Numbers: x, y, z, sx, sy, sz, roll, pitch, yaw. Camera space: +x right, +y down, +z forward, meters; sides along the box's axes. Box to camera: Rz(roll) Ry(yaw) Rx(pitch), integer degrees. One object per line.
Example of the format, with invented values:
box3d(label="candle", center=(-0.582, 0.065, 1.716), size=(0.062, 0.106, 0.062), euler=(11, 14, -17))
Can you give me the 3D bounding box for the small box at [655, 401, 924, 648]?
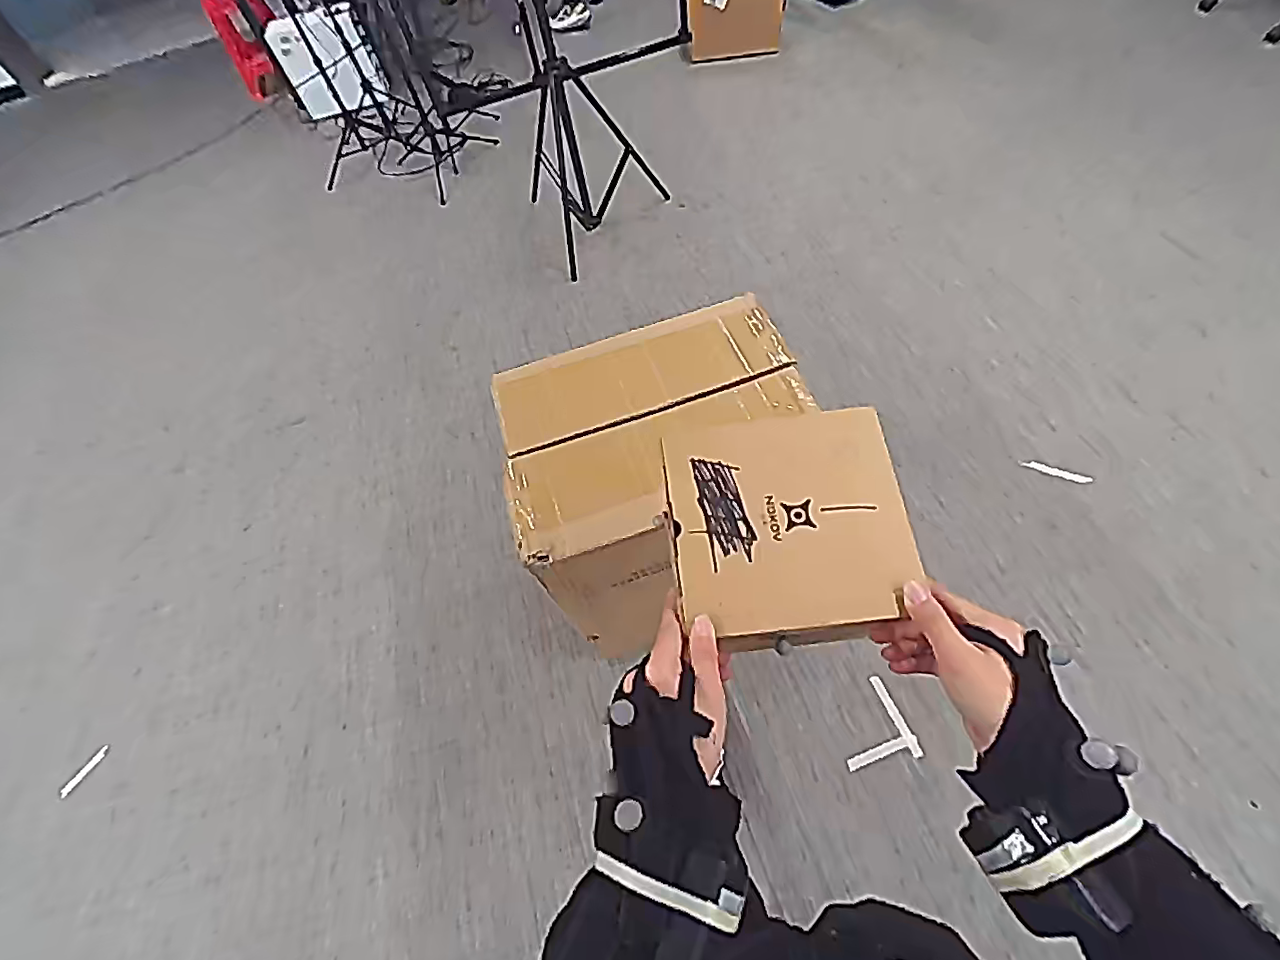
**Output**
box3d(label="small box", center=(0.111, 0.051, 0.481), size=(0.179, 0.176, 0.168), euler=(-7, 67, 1))
